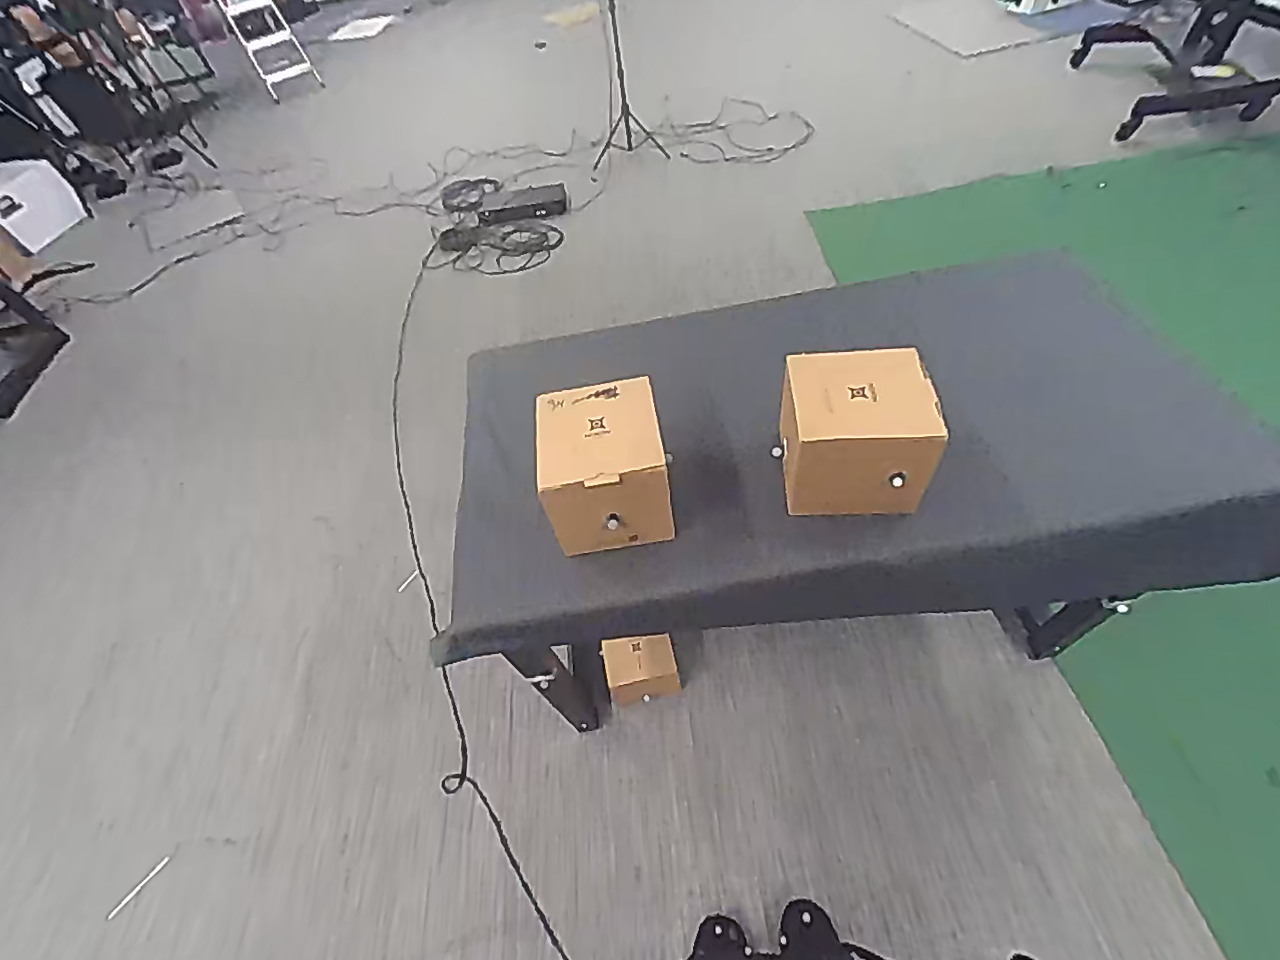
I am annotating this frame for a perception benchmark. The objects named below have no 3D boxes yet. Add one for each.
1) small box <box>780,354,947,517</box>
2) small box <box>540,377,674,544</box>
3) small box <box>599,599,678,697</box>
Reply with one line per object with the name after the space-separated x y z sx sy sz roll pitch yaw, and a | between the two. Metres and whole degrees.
0.301 -0.058 0.772 0.179 0.176 0.168 -2 52 8 | small box
-0.045 -0.020 0.790 0.168 0.176 0.179 -8 52 1 | small box
-0.003 0.427 1.368 0.168 0.176 0.179 -12 54 -1 | small box
